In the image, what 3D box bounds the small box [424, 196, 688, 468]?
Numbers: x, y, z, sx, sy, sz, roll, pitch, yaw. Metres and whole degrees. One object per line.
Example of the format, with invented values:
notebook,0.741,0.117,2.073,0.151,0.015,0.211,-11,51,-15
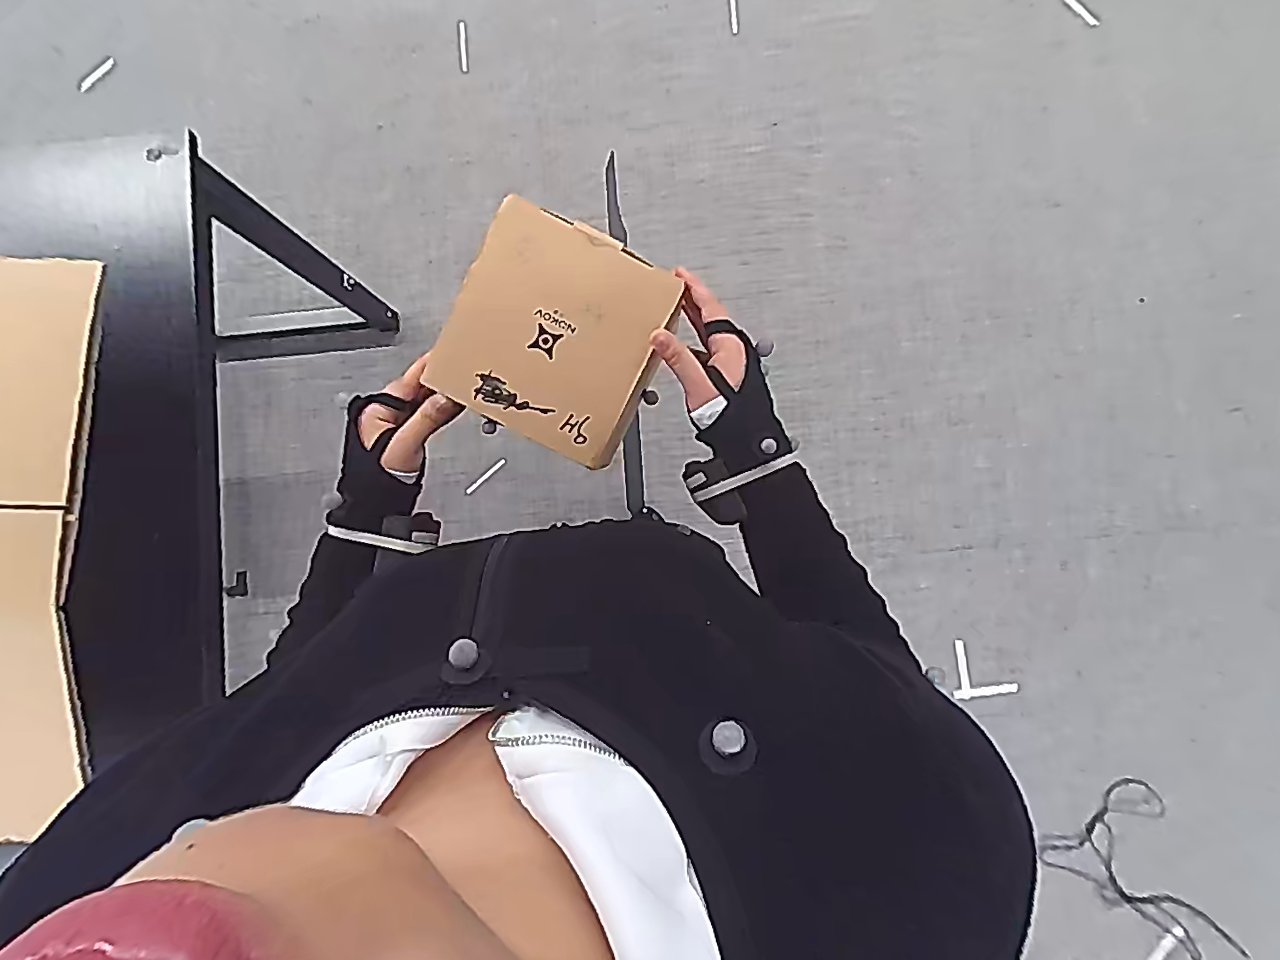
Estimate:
small box,-0.070,-0.125,0.528,0.168,0.176,0.179,27,92,1
